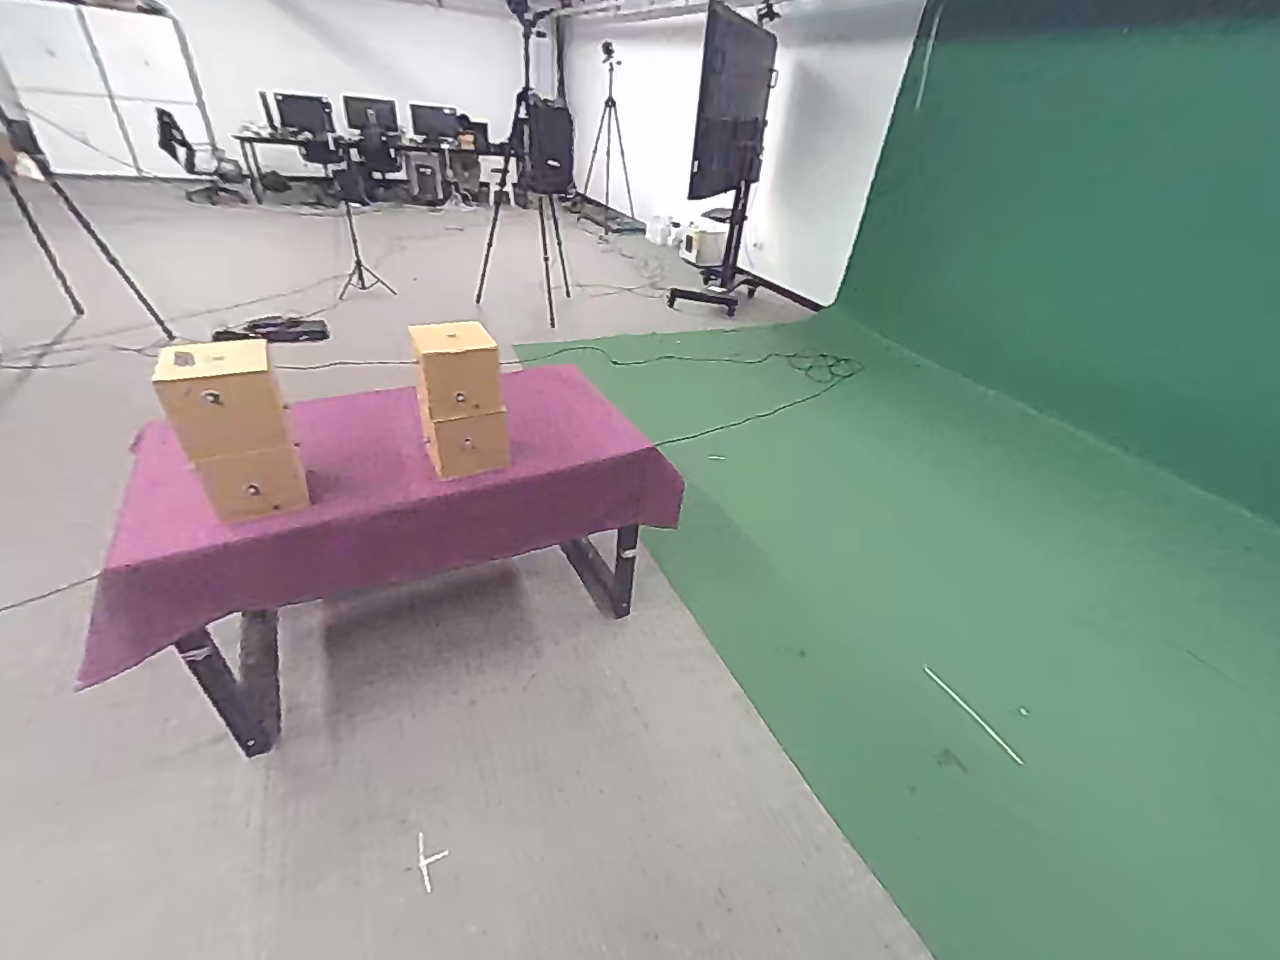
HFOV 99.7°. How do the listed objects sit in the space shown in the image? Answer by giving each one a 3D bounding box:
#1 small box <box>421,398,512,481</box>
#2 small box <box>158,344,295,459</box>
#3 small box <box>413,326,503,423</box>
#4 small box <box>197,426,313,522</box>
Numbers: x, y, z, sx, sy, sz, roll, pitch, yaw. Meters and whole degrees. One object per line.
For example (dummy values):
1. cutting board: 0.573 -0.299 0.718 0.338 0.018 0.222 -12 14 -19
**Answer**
1. small box: -0.438 -0.116 1.374 0.179 0.176 0.168 -15 40 -26
2. small box: -0.820 -0.159 1.090 0.179 0.176 0.168 -13 39 -27
3. small box: -0.431 -0.253 1.285 0.168 0.176 0.179 -13 39 -26
4. small box: -0.833 -0.025 1.184 0.168 0.176 0.179 -13 39 -26
